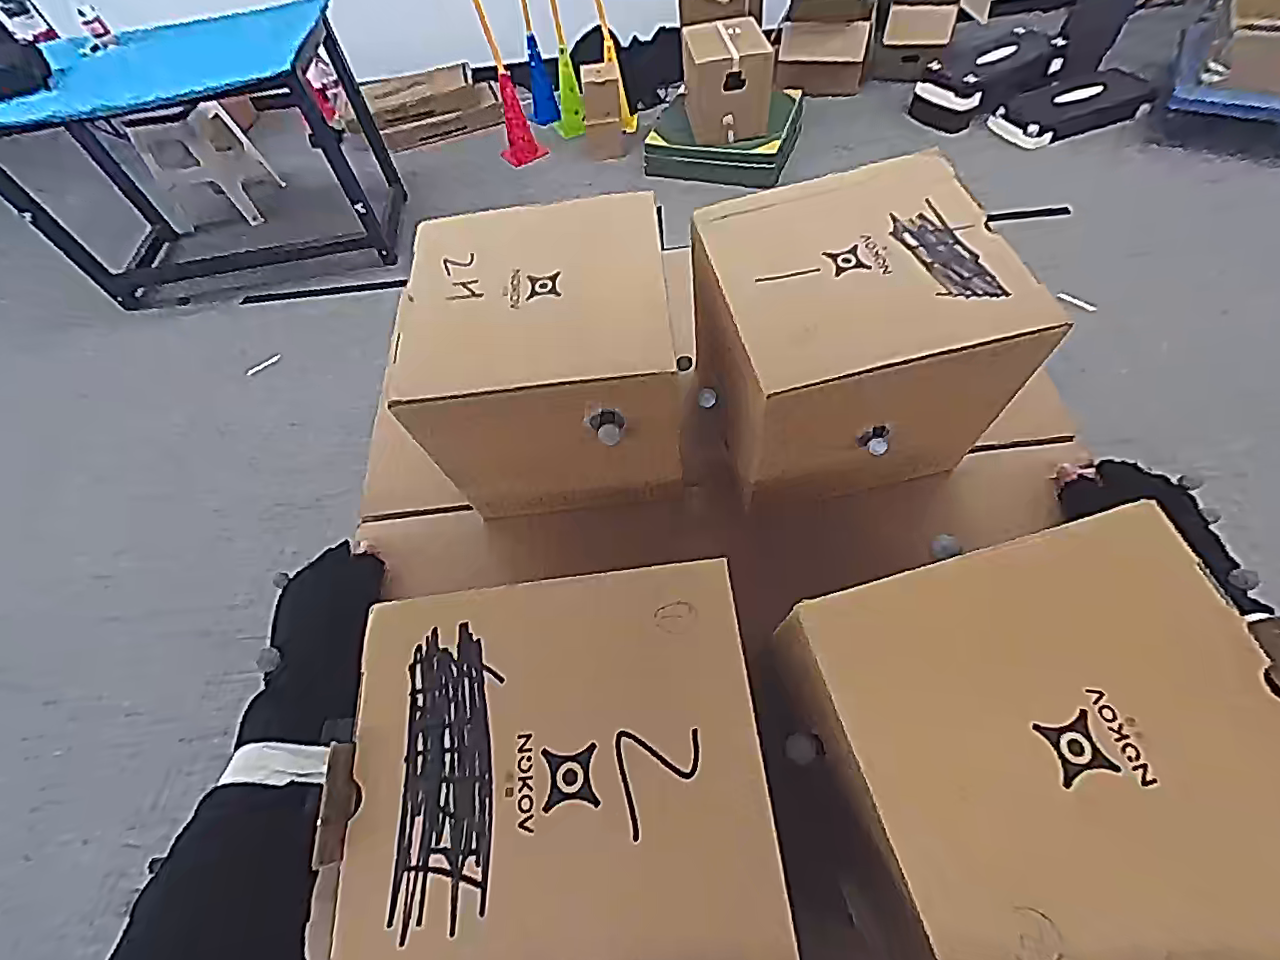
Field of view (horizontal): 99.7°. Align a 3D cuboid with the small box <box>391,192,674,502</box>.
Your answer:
[{"bbox_3d":[-0.065,-0.094,0.436,0.179,0.176,0.168,-6,61,4],"label":"small box"}]
